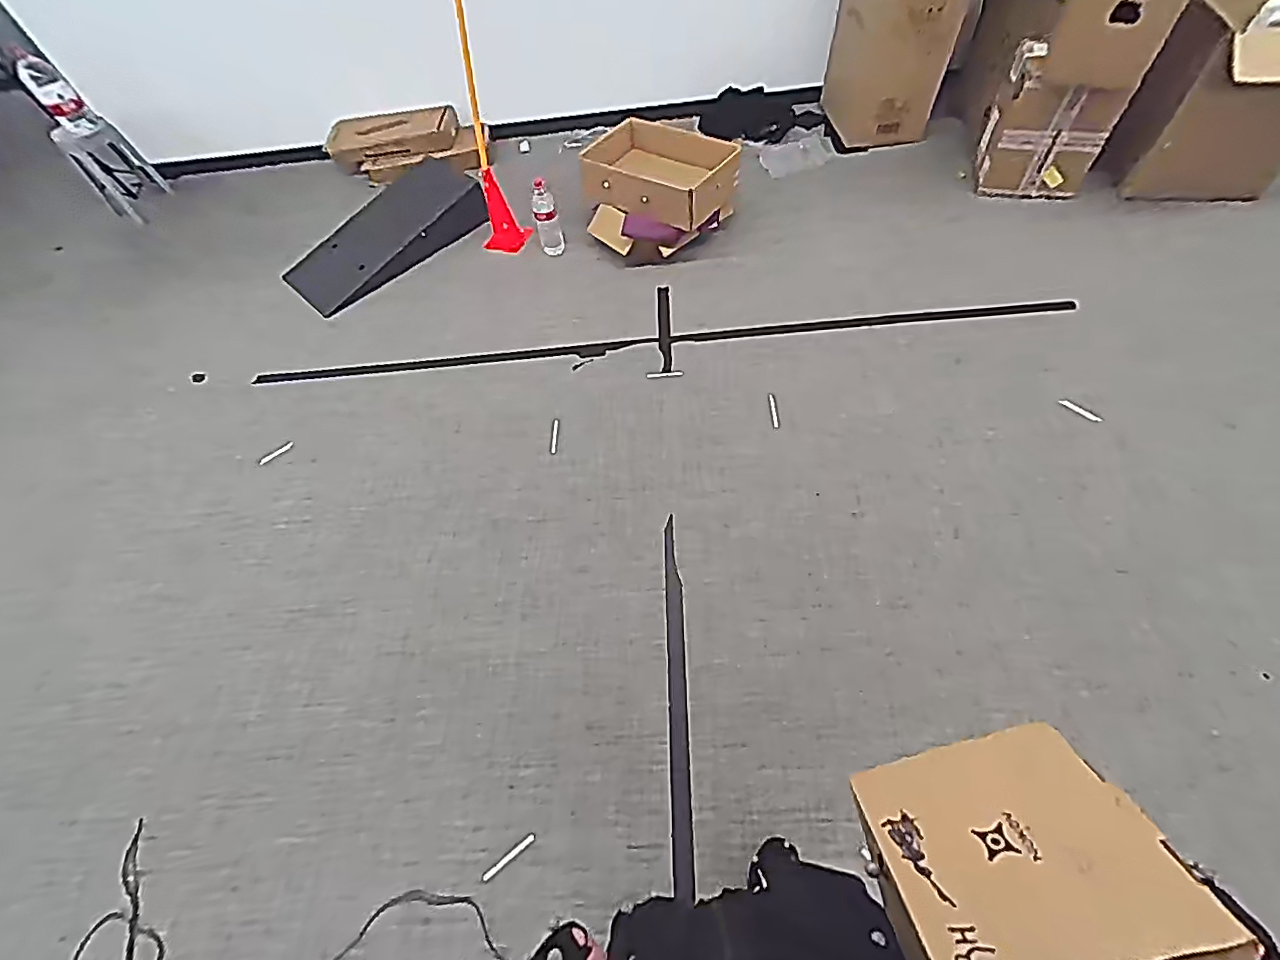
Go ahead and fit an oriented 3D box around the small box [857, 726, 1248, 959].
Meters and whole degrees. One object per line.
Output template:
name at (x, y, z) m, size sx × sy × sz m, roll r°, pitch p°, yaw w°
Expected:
small box at (0.299, 0.337, 0.426) m, size 0.179 × 0.176 × 0.168 m, roll -18°, pitch 19°, yaw 5°
